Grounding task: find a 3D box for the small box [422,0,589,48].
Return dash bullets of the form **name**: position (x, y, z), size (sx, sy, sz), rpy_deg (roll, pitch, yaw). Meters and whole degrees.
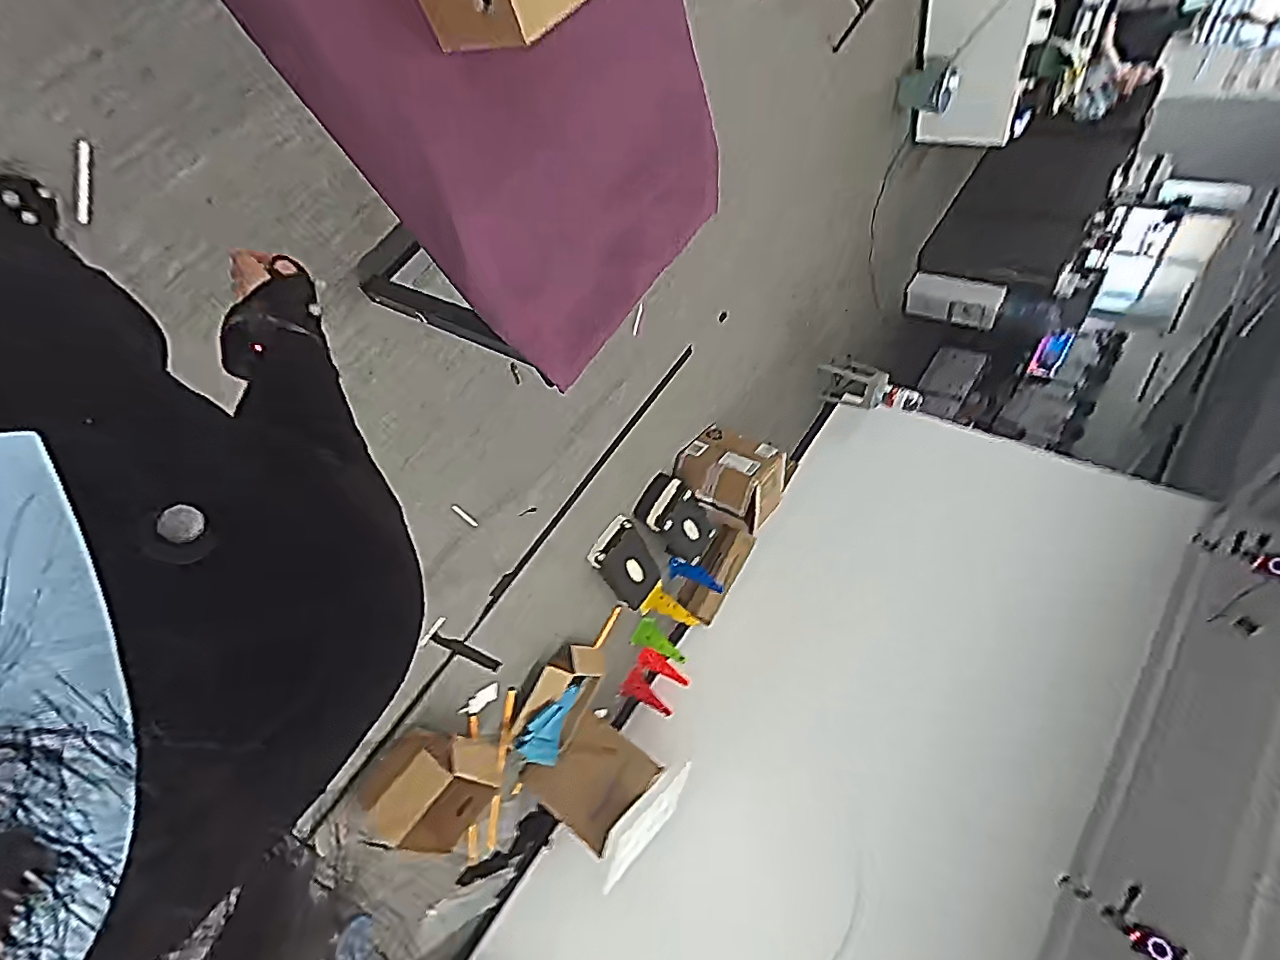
- **small box**: position (-0.164, -0.624, 0.607), size (0.168, 0.176, 0.179), rpy_deg (-52, 146, -18)
